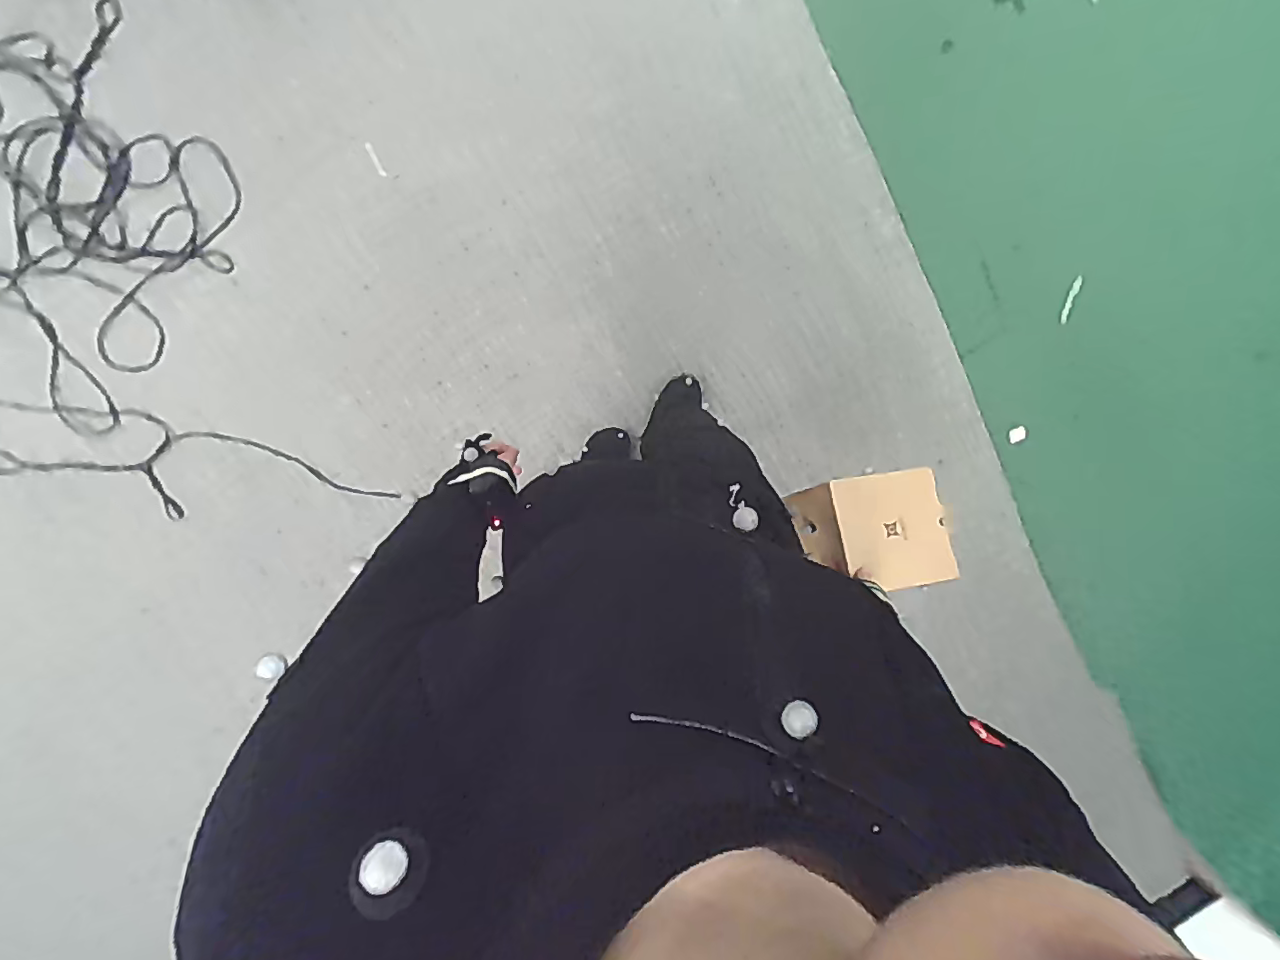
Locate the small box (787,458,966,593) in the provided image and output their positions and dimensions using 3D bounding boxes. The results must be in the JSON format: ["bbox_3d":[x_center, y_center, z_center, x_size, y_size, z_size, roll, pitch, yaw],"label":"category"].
[{"bbox_3d":[0.343,0.076,0.826,0.179,0.176,0.168,-9,79,-14],"label":"small box"}]
